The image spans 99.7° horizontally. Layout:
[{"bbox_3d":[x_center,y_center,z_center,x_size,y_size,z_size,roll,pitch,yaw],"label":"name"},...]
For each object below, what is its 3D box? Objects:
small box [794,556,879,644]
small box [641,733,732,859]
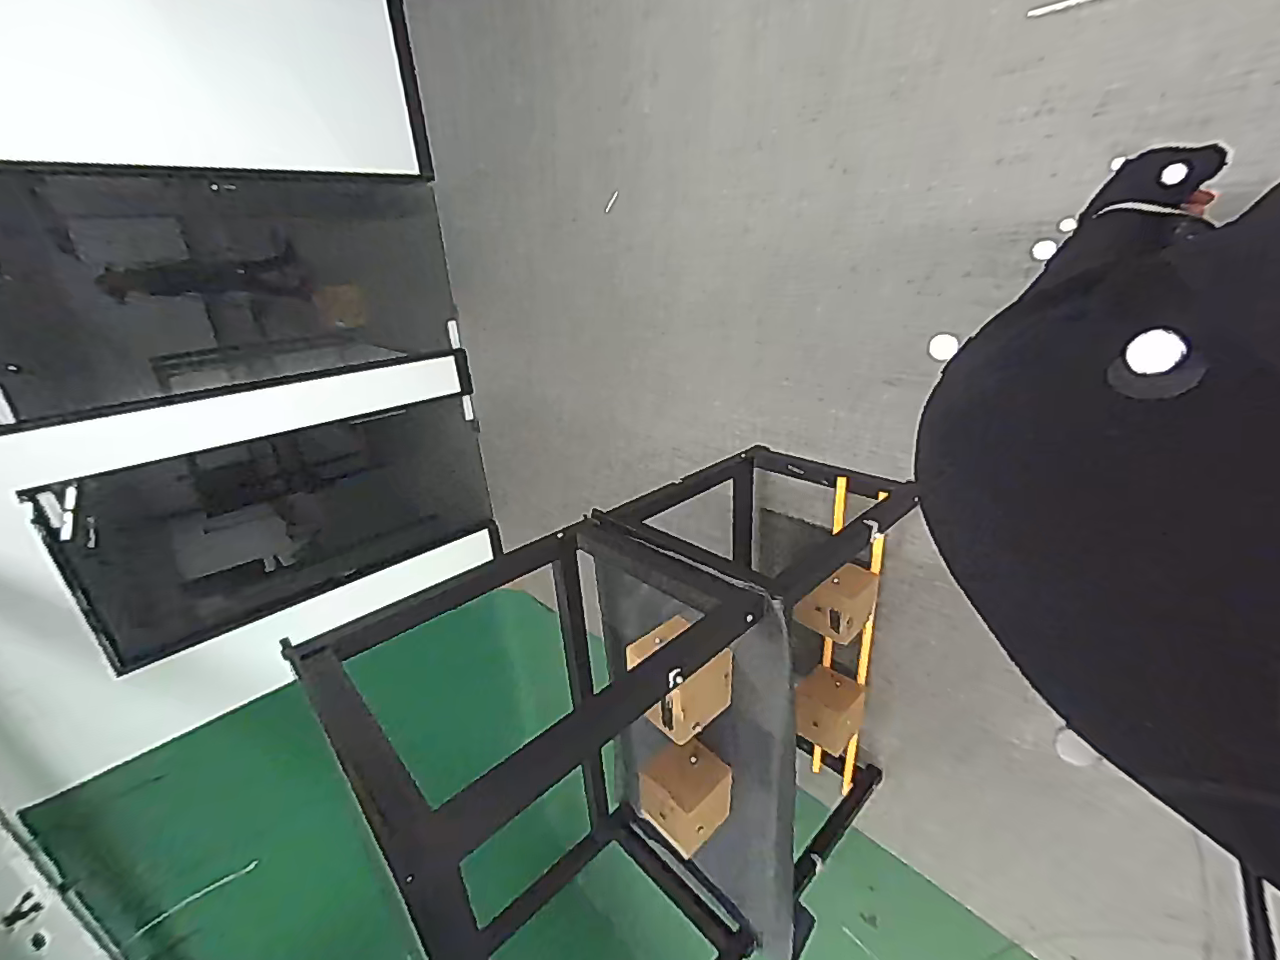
[{"bbox_3d":[0.586,0.349,1.613,0.179,0.176,0.168,23,124,42],"label":"small box"},{"bbox_3d":[0.120,0.793,1.373,0.168,0.176,0.179,23,125,42],"label":"small box"}]
